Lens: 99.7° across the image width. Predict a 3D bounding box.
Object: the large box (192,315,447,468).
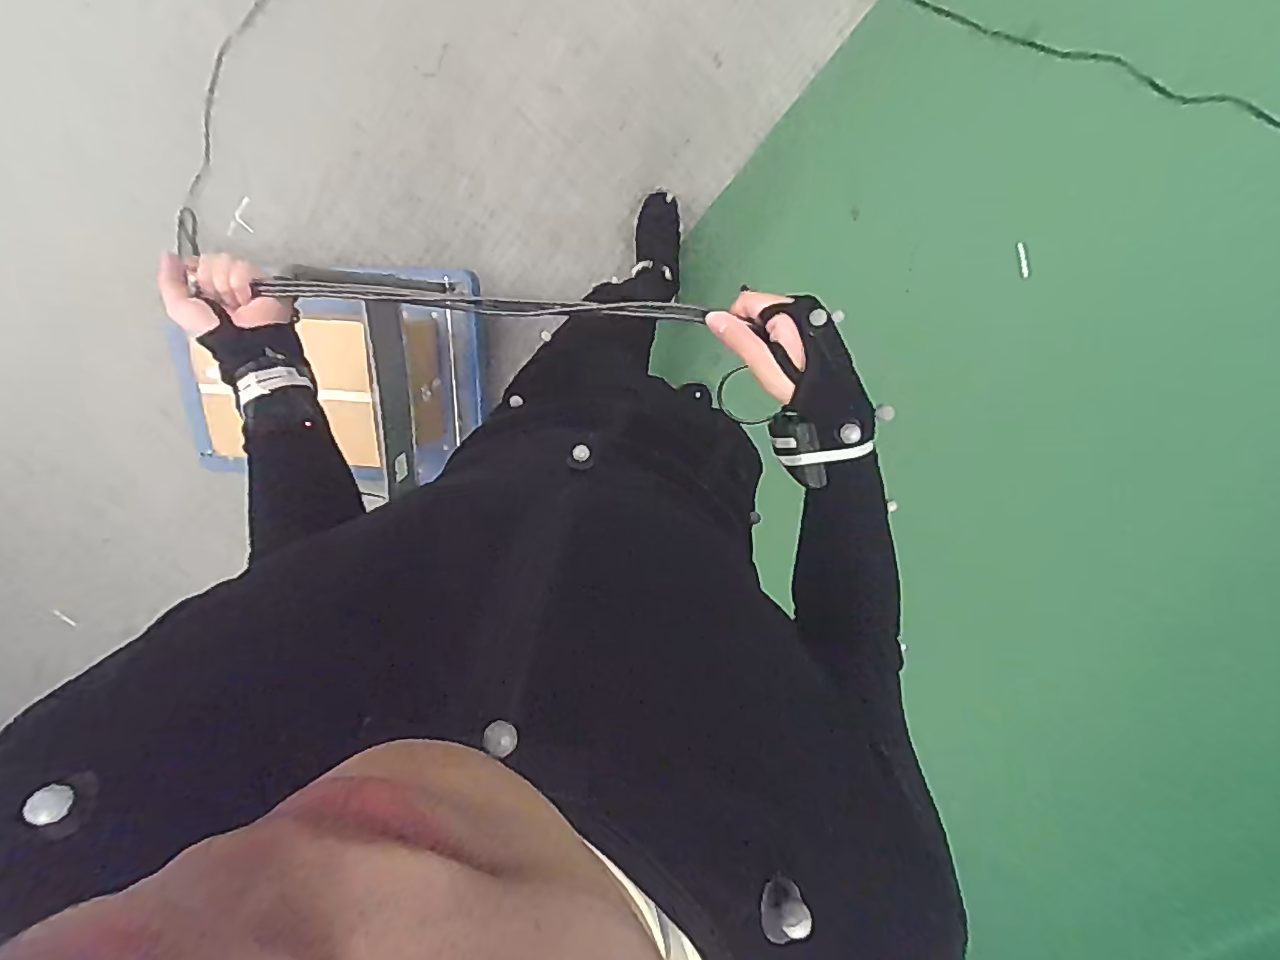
[{"bbox_3d":[-0.732,-0.230,1.301,0.408,0.320,0.320,4,107,6],"label":"large box"}]
